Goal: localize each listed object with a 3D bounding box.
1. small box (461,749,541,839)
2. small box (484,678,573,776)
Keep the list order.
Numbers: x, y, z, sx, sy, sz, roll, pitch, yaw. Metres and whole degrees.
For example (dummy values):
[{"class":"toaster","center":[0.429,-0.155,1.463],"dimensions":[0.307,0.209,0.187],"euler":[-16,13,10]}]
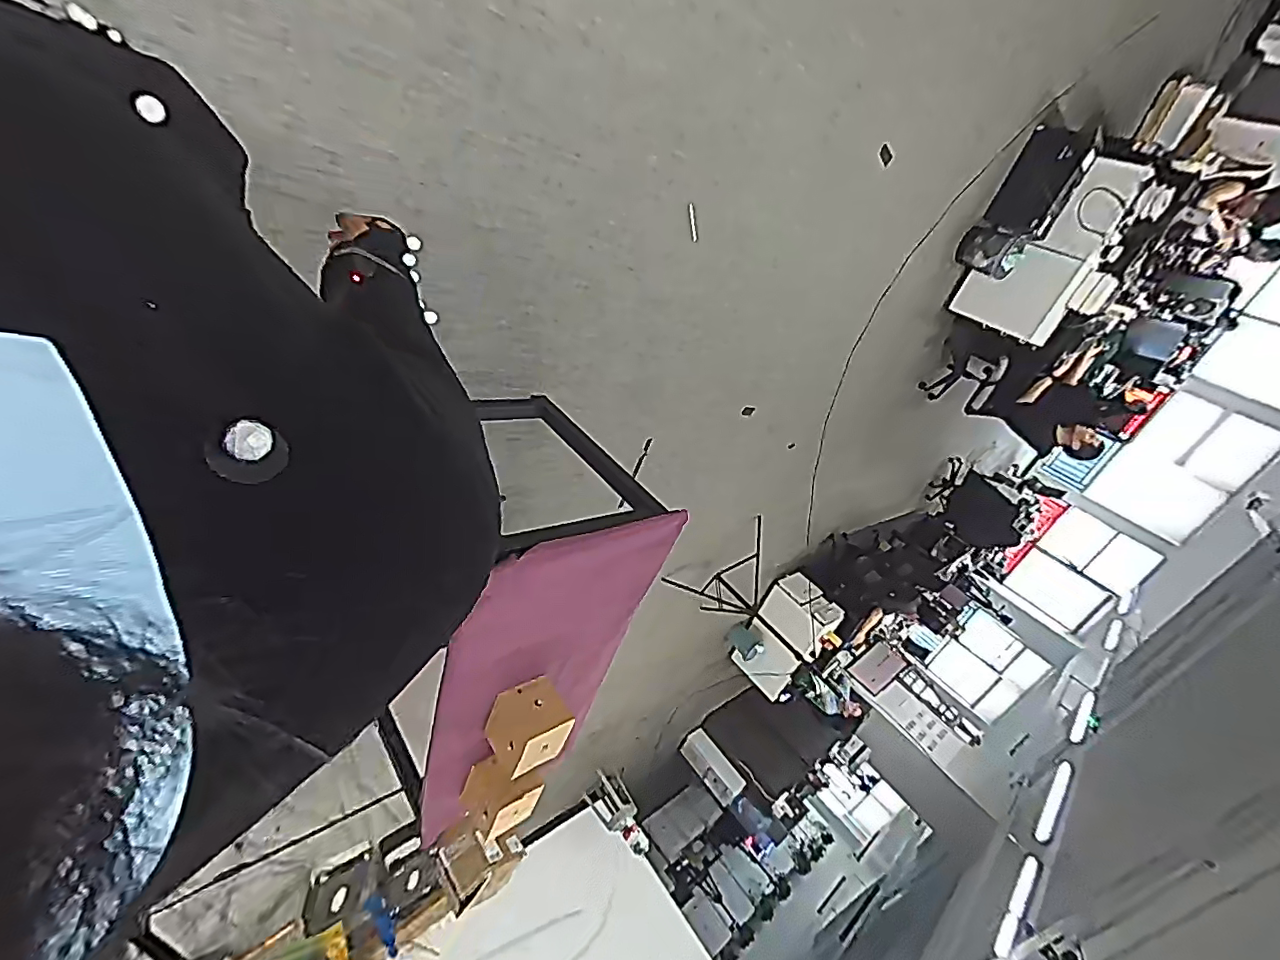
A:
[{"class":"small box","center":[-0.445,0.971,1.705],"dimensions":[0.168,0.176,0.179],"euler":[-6,128,-47]},{"class":"small box","center":[-0.326,0.696,1.553],"dimensions":[0.168,0.176,0.179],"euler":[-5,129,-46]}]
